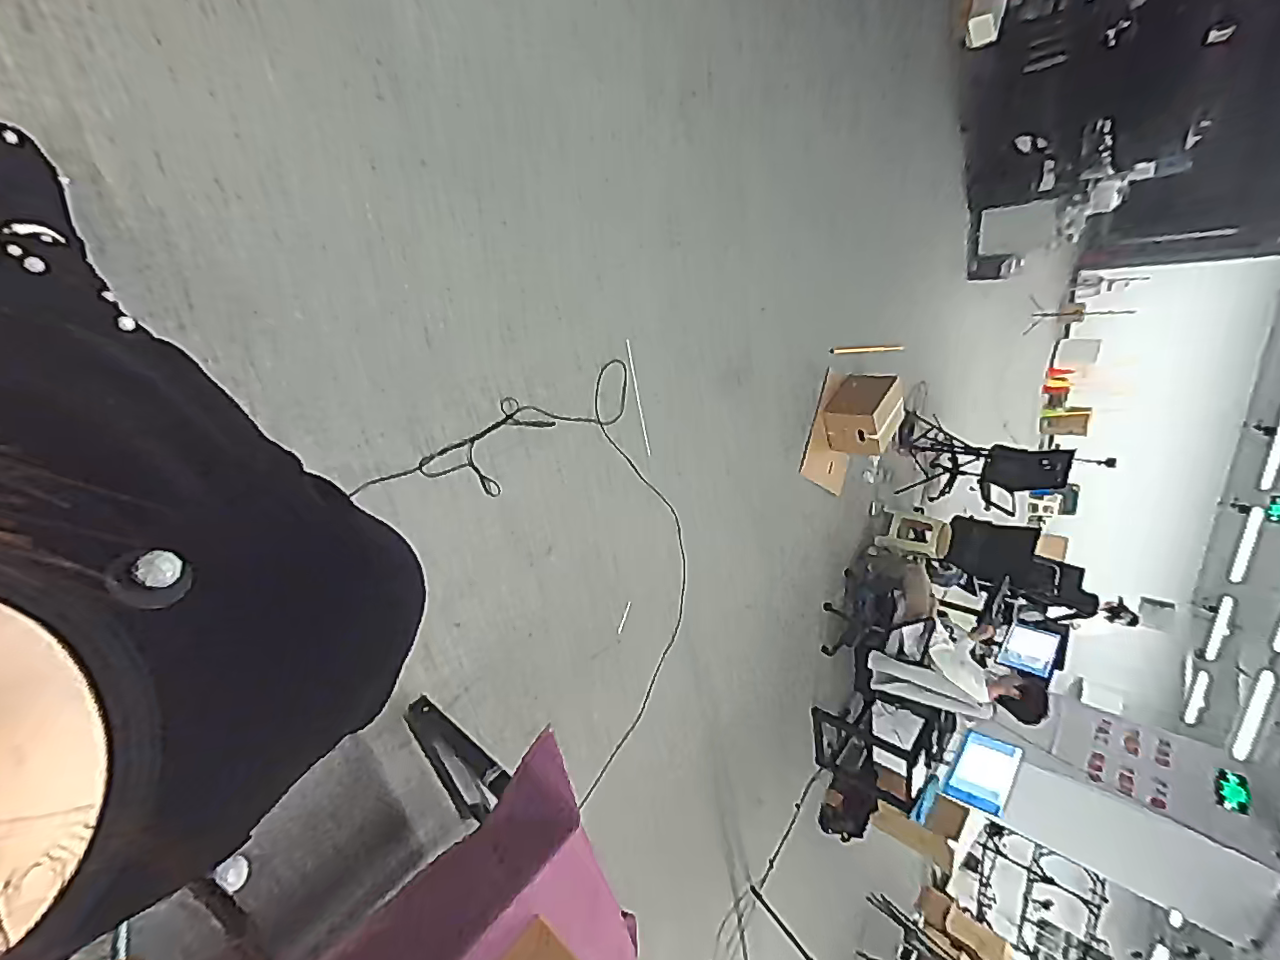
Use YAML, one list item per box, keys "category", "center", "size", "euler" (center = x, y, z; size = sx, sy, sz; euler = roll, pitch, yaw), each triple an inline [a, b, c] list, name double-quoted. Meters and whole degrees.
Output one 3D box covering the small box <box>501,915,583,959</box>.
- category: "small box"
  center: [-0.192, 1.036, 1.077]
  size: [0.179, 0.176, 0.168]
  euler: [-32, 121, -36]
